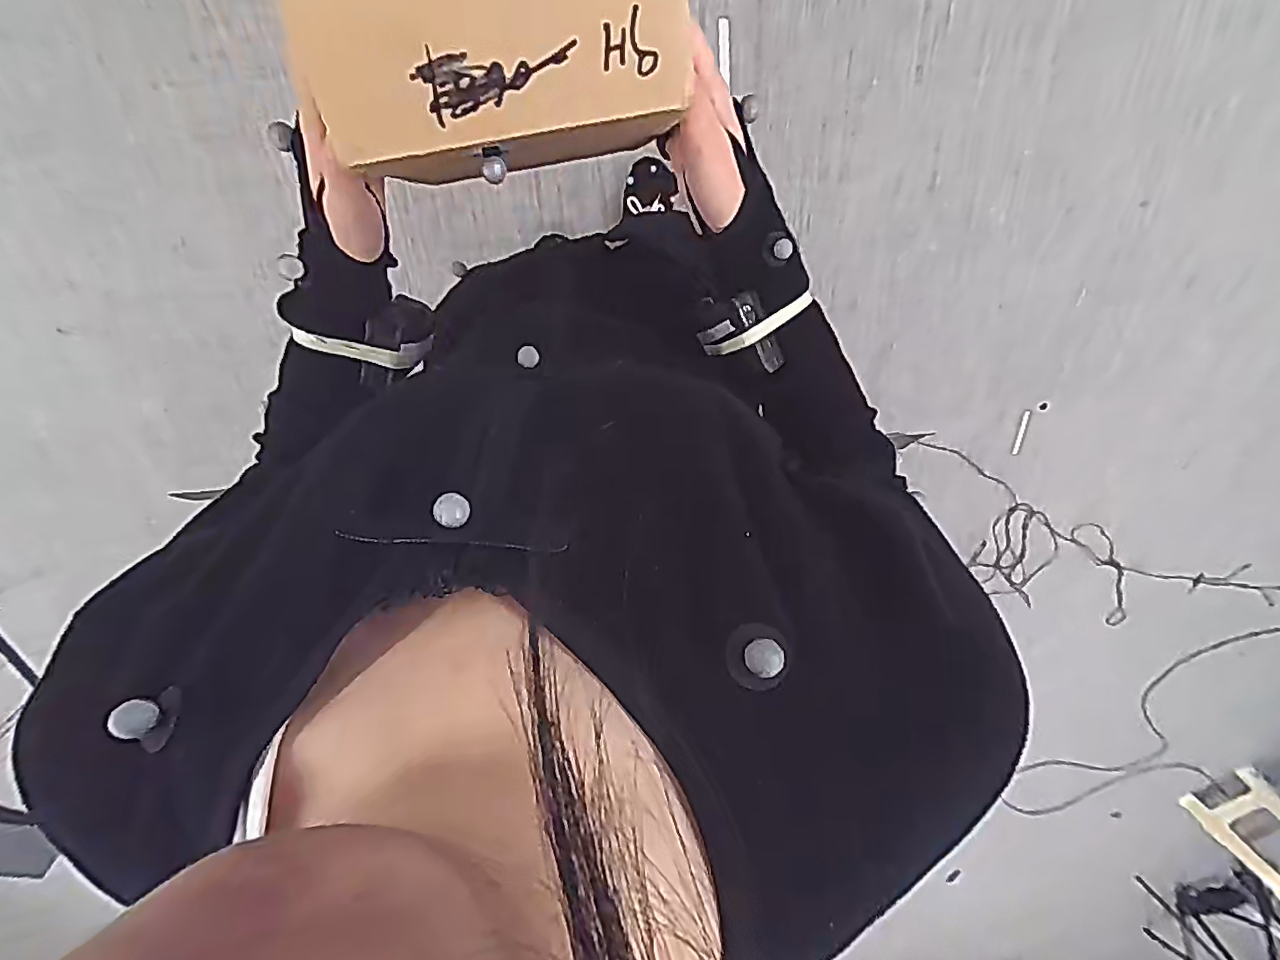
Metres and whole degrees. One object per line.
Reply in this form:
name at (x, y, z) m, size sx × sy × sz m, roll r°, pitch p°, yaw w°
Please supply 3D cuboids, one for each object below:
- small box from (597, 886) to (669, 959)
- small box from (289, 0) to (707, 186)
small box at (-0.015, 1.121, 1.309) m, size 0.168 × 0.176 × 0.179 m, roll -3°, pitch 119°, yaw -2°
small box at (-0.072, -0.264, 0.274) m, size 0.168 × 0.176 × 0.179 m, roll -11°, pitch 117°, yaw -1°
